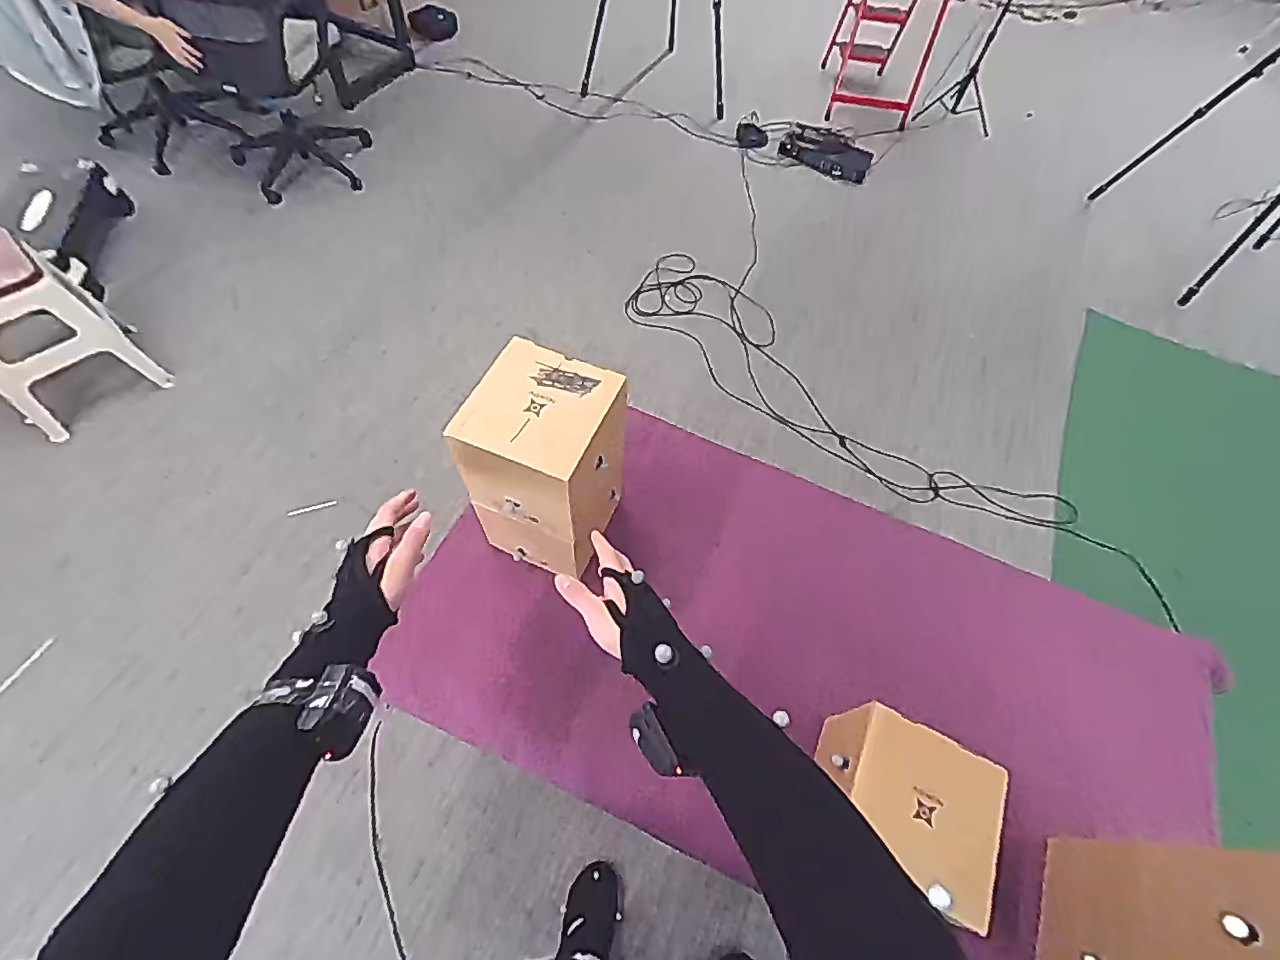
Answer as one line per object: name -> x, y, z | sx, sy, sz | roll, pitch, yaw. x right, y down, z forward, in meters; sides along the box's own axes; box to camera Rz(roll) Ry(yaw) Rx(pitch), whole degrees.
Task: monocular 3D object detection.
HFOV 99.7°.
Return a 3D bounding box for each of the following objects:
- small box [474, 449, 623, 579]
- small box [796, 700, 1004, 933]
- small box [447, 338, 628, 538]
small box -> -0.139, 0.032, 0.872 | 0.168, 0.176, 0.179 | 22, 61, 9
small box -> 0.314, 0.413, 0.681 | 0.168, 0.176, 0.179 | 26, 59, 11
small box -> -0.128, -0.052, 0.731 | 0.168, 0.176, 0.179 | 21, 61, 9
